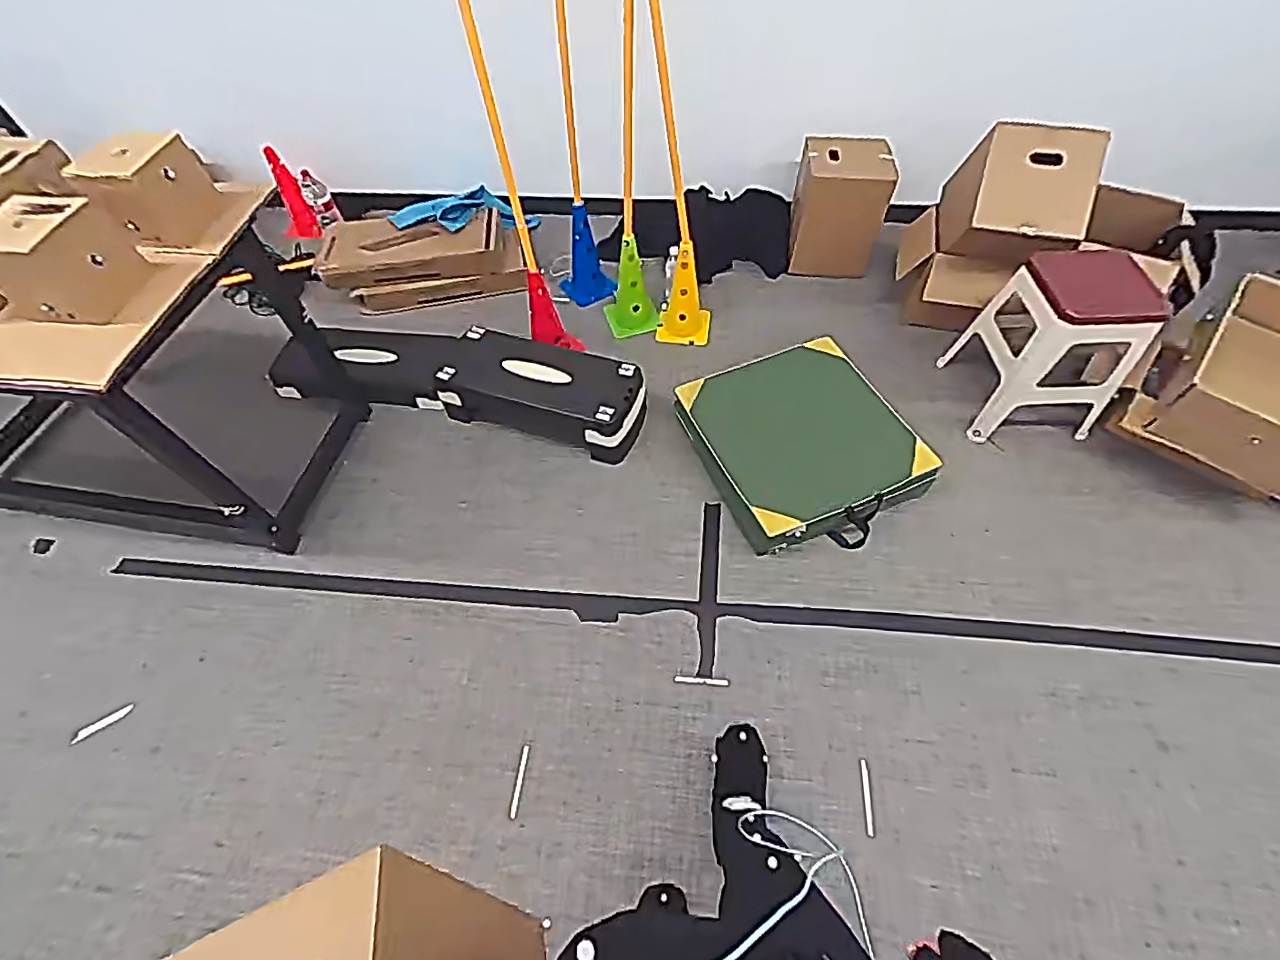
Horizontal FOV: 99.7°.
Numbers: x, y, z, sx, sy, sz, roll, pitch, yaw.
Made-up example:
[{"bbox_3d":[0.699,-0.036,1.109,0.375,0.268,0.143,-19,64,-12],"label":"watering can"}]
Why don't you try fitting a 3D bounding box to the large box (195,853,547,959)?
[{"bbox_3d":[-0.325,0.735,0.649,0.320,0.408,0.320,-28,37,0],"label":"large box"}]
